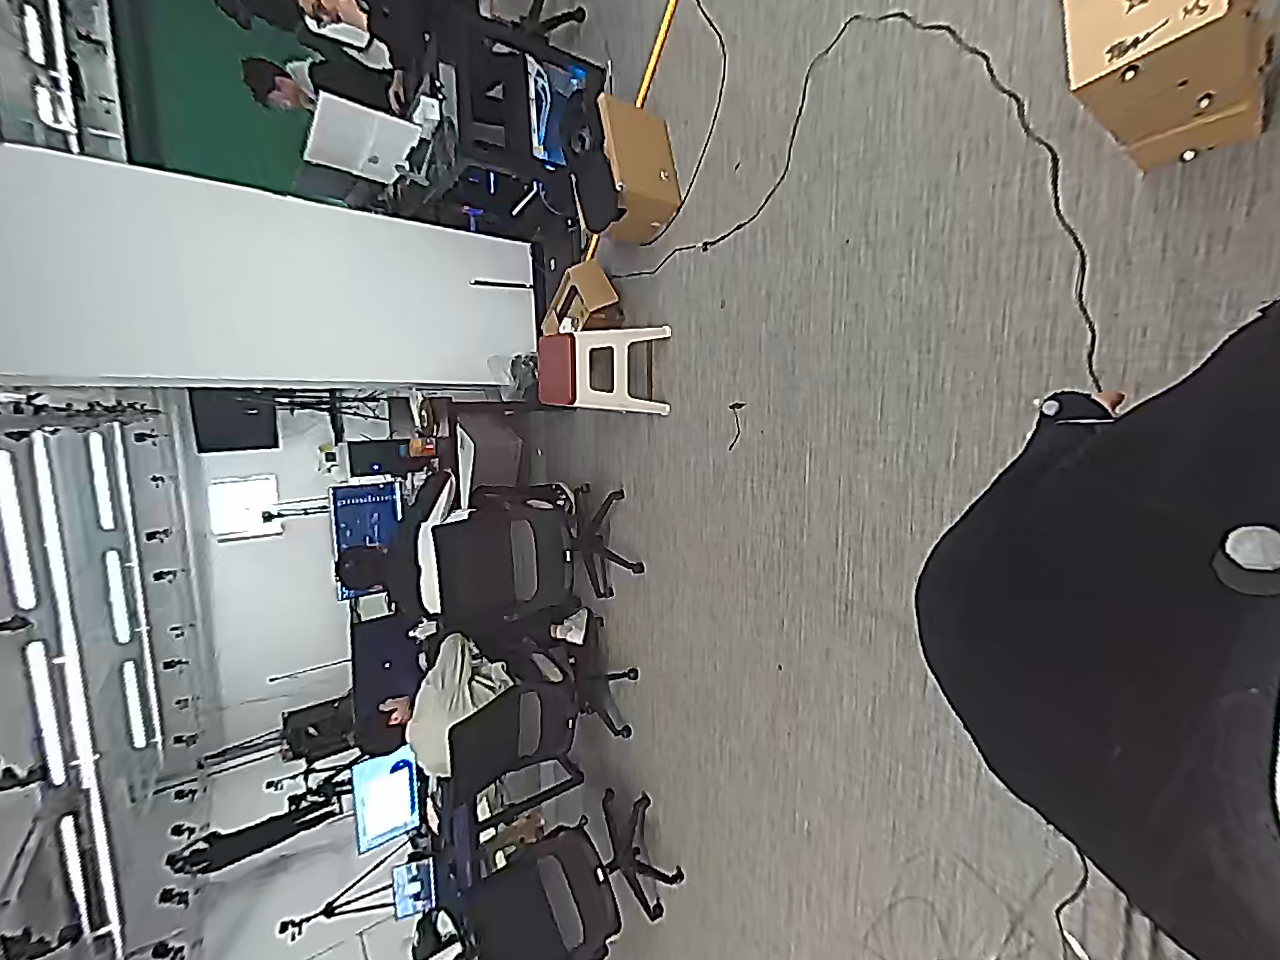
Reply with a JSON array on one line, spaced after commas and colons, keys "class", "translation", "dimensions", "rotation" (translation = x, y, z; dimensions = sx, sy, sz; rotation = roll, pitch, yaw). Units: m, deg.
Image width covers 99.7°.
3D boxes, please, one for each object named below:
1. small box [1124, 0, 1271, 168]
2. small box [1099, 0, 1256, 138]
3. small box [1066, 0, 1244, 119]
[{"class": "small box", "translation": [1.018, -0.709, 0.989], "dimensions": [0.168, 0.176, 0.179], "rotation": [5, 100, 53]}, {"class": "small box", "translation": [0.887, -0.701, 0.895], "dimensions": [0.168, 0.176, 0.179], "rotation": [0, 93, 53]}, {"class": "small box", "translation": [0.756, -0.683, 0.797], "dimensions": [0.168, 0.176, 0.179], "rotation": [-4, 91, 53]}]
